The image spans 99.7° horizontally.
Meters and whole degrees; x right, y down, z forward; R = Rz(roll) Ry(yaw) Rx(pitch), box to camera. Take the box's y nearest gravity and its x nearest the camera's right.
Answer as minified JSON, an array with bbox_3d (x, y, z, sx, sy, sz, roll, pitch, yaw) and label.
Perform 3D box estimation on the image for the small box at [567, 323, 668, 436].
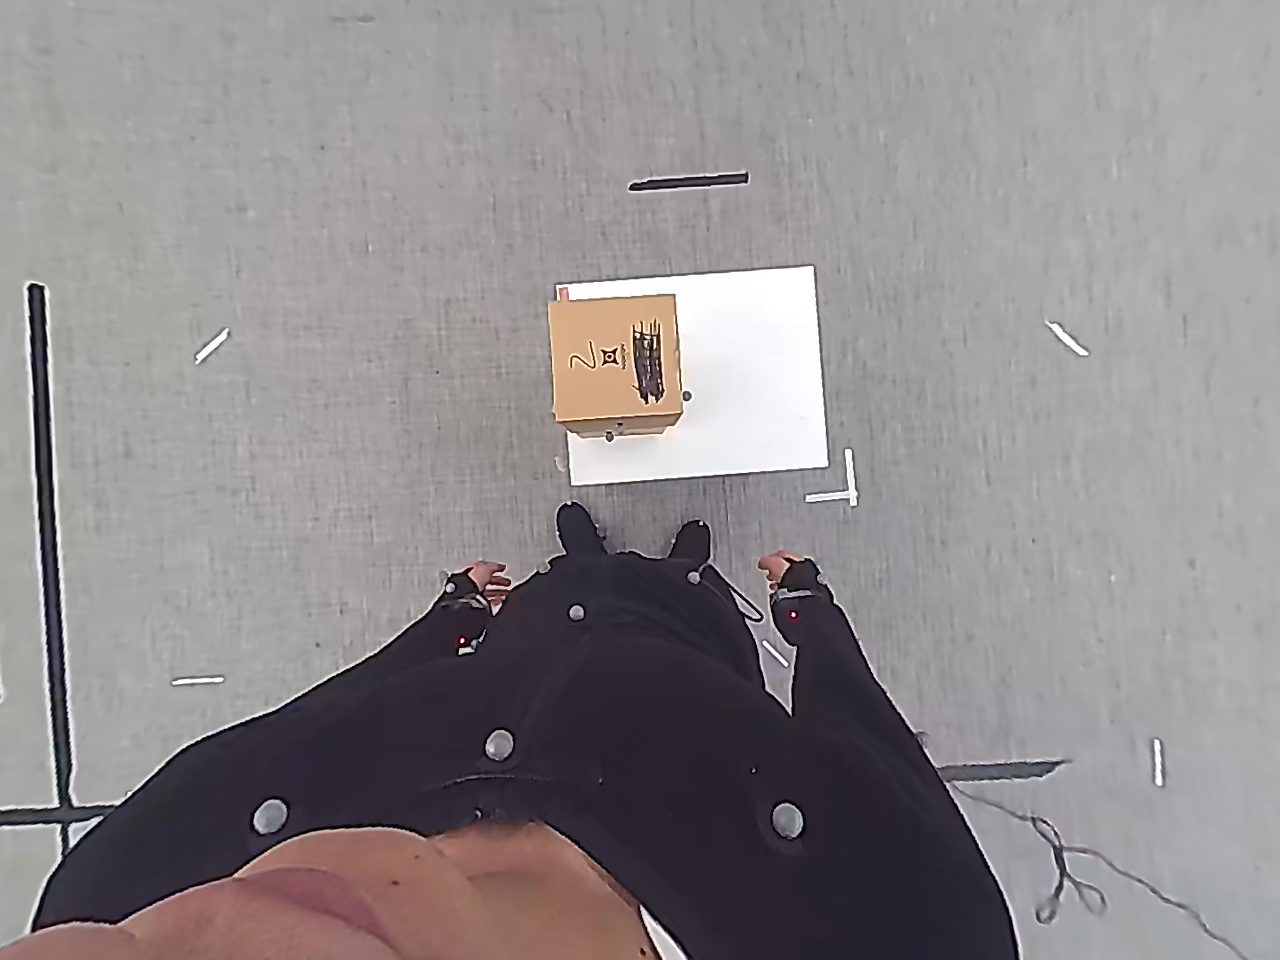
[{"bbox_3d":[-0.037,-0.171,0.976,0.168,0.176,0.179,-3,90,-1],"label":"small box"}]
